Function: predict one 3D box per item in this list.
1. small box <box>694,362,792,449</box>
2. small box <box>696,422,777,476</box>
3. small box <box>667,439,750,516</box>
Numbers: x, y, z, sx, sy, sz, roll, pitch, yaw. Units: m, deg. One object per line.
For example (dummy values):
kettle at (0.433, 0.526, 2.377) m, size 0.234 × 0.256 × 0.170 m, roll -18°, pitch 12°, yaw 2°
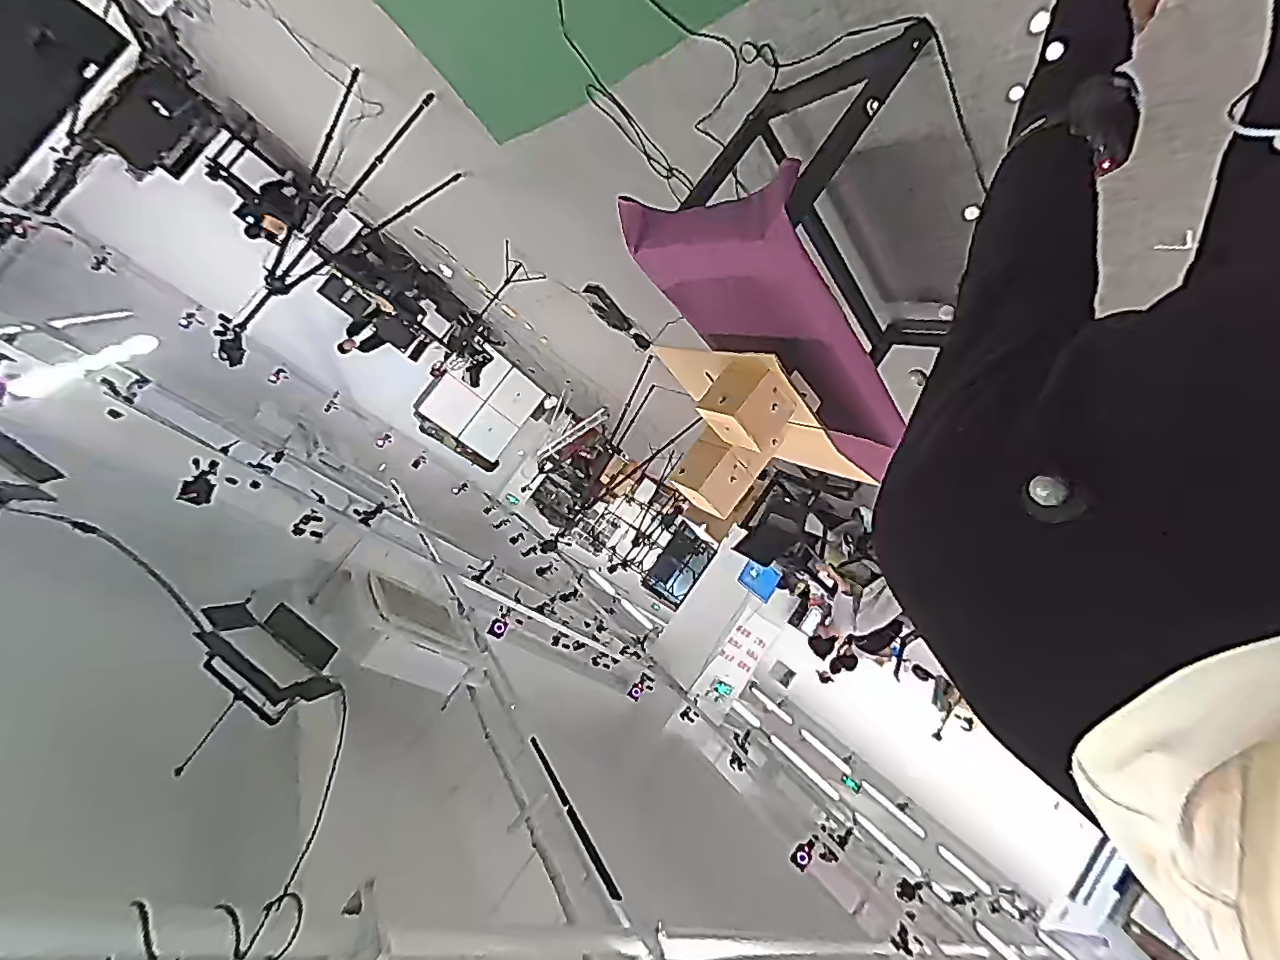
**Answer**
small box at (0.293, -0.217, 1.528) m, size 0.168 × 0.176 × 0.179 m, roll 42°, pitch 171°, yaw -33°
small box at (0.328, -0.144, 1.795) m, size 0.168 × 0.176 × 0.179 m, roll 43°, pitch 171°, yaw -33°
small box at (0.227, -0.015, 1.777) m, size 0.168 × 0.176 × 0.179 m, roll 42°, pitch 171°, yaw -33°
